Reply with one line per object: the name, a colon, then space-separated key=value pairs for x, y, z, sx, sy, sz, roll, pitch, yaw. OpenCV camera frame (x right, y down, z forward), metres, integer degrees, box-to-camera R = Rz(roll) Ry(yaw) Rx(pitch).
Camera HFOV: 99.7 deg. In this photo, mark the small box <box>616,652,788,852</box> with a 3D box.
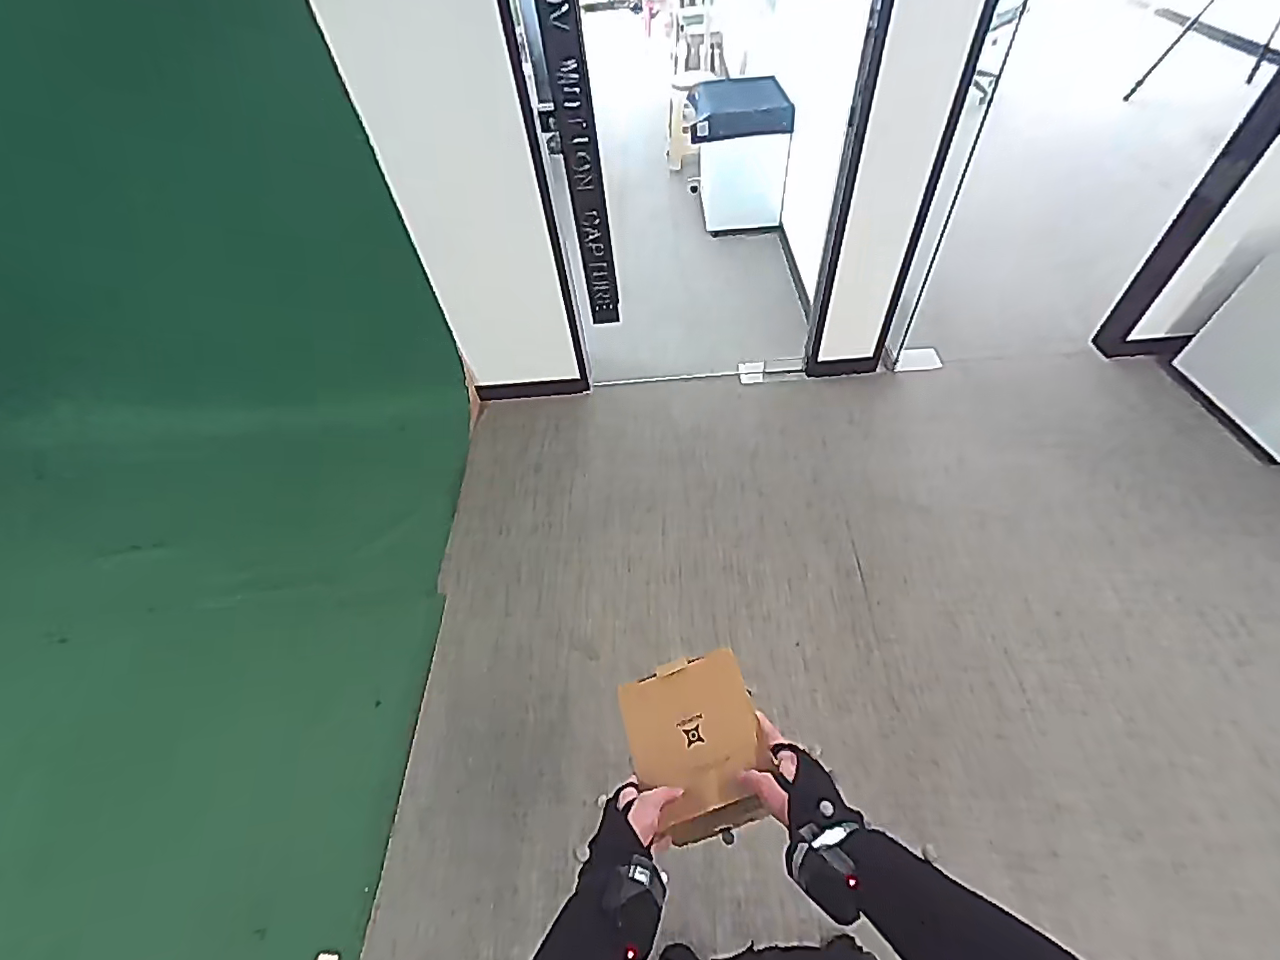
small box: x=0.082 y=0.363 z=0.717 sx=0.168 sy=0.176 sz=0.179 roll=-21 pitch=47 yaw=5
